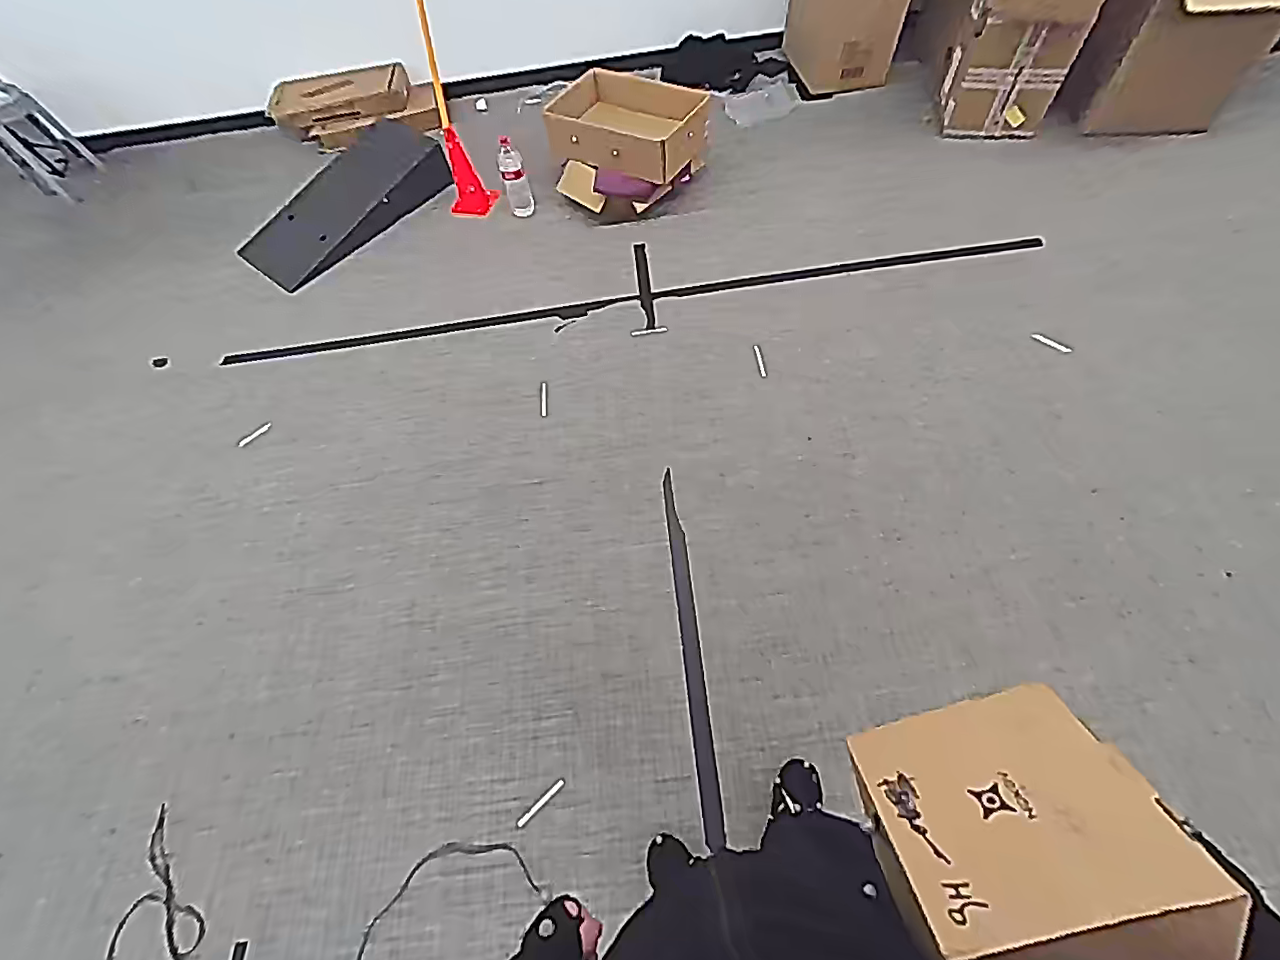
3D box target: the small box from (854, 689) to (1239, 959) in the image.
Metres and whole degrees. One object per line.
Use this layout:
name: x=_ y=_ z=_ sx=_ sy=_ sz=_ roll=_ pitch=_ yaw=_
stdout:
small box: x=0.298 y=0.308 z=0.434 sx=0.179 sy=0.176 sz=0.168 roll=-18 pitch=23 yaw=6
